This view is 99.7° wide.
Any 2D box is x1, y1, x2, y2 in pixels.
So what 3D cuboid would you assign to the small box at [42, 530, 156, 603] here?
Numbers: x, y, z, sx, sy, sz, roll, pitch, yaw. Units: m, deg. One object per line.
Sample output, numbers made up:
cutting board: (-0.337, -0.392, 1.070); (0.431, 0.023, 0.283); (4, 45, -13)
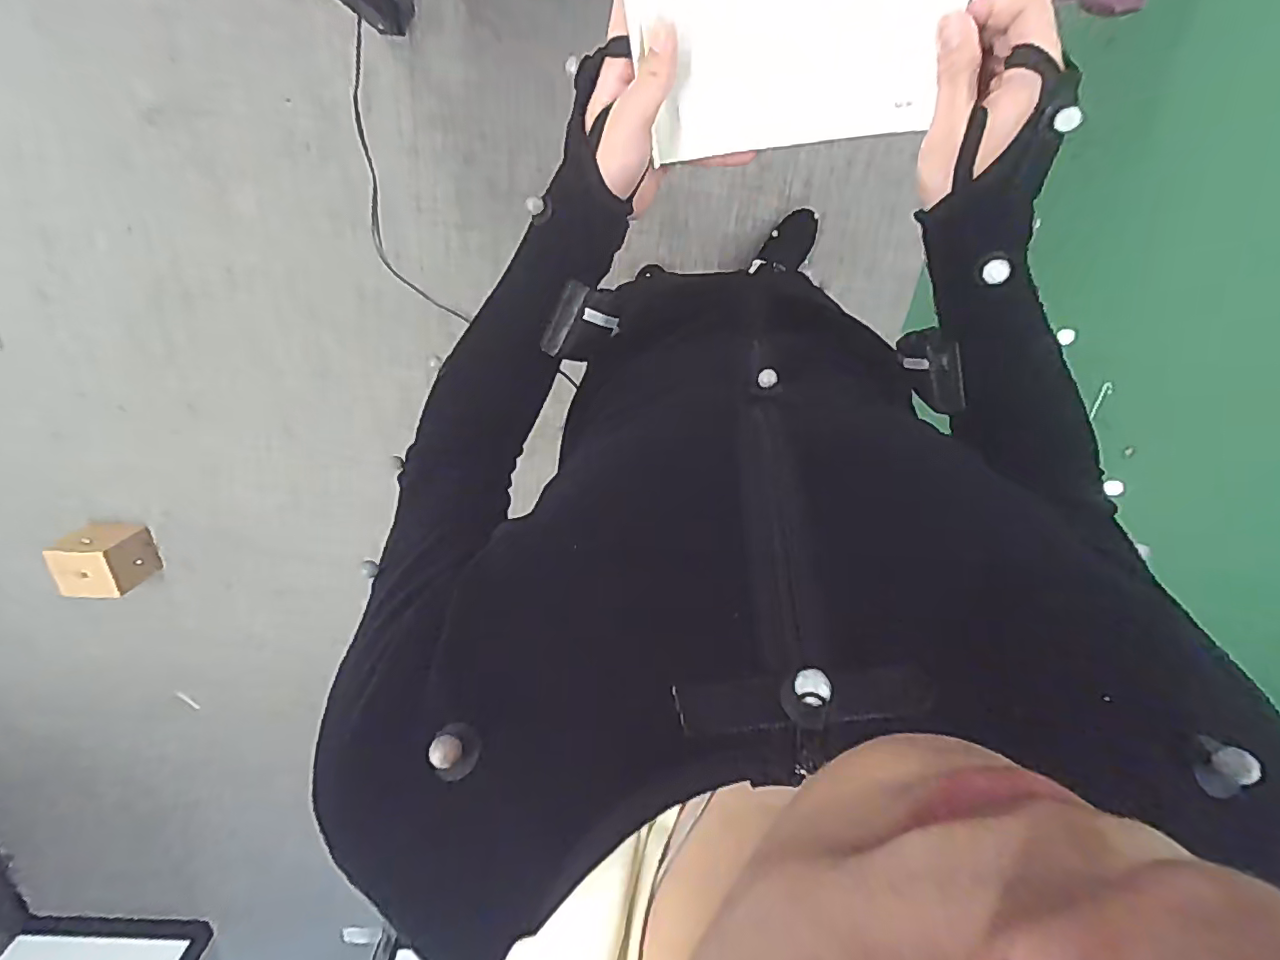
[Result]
small box: (-1.672, 0.267, 1.688); (0.179, 0.176, 0.168); (2, 113, -2)
